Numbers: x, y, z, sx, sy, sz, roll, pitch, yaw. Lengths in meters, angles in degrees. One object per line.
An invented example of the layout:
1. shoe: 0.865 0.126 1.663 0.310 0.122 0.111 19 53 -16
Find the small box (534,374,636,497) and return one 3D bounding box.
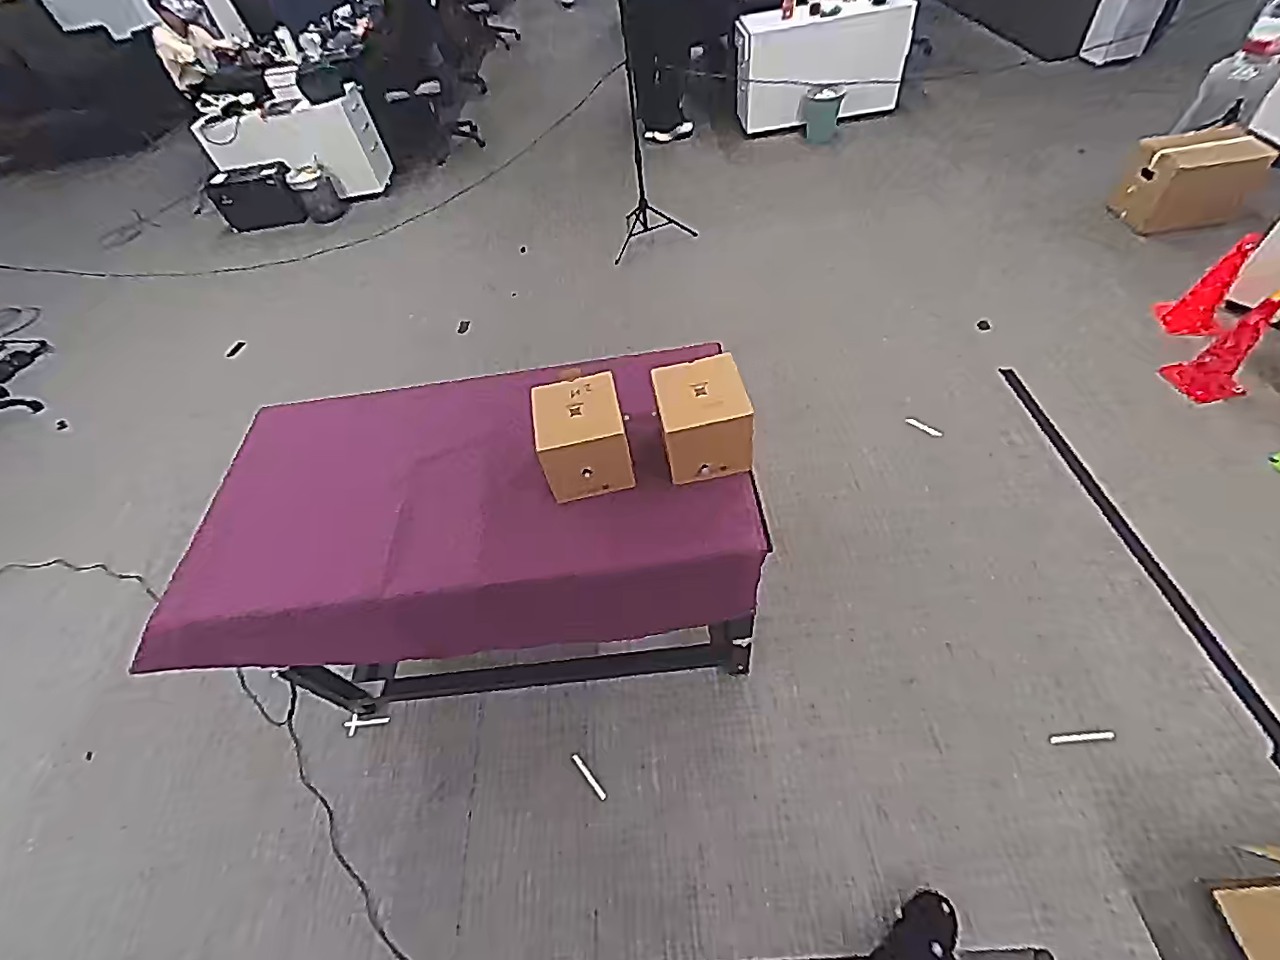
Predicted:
1. small box: -0.109 -0.082 1.094 0.168 0.176 0.179 -12 51 -1

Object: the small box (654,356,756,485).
1. small box: 0.128 -0.117 1.083 0.168 0.176 0.179 -12 51 2
